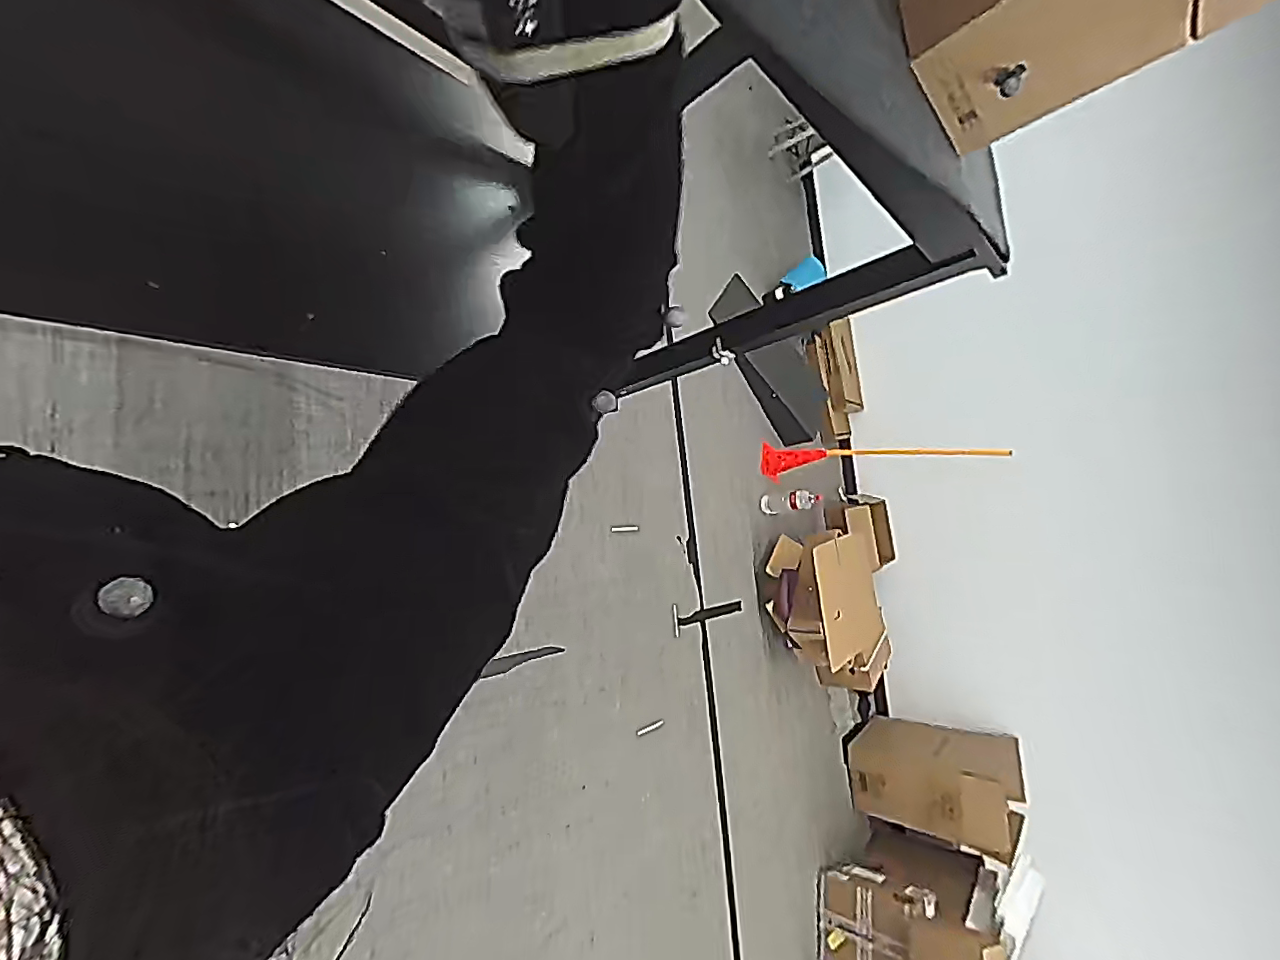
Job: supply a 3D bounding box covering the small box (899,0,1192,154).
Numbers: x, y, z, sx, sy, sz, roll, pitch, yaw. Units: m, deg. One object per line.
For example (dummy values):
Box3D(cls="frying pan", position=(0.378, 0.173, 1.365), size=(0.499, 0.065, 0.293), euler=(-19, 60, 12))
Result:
Box3D(cls="small box", position=(0.319, -0.423, 0.444), size=(0.168, 0.176, 0.179), euler=(3, 78, -46))
